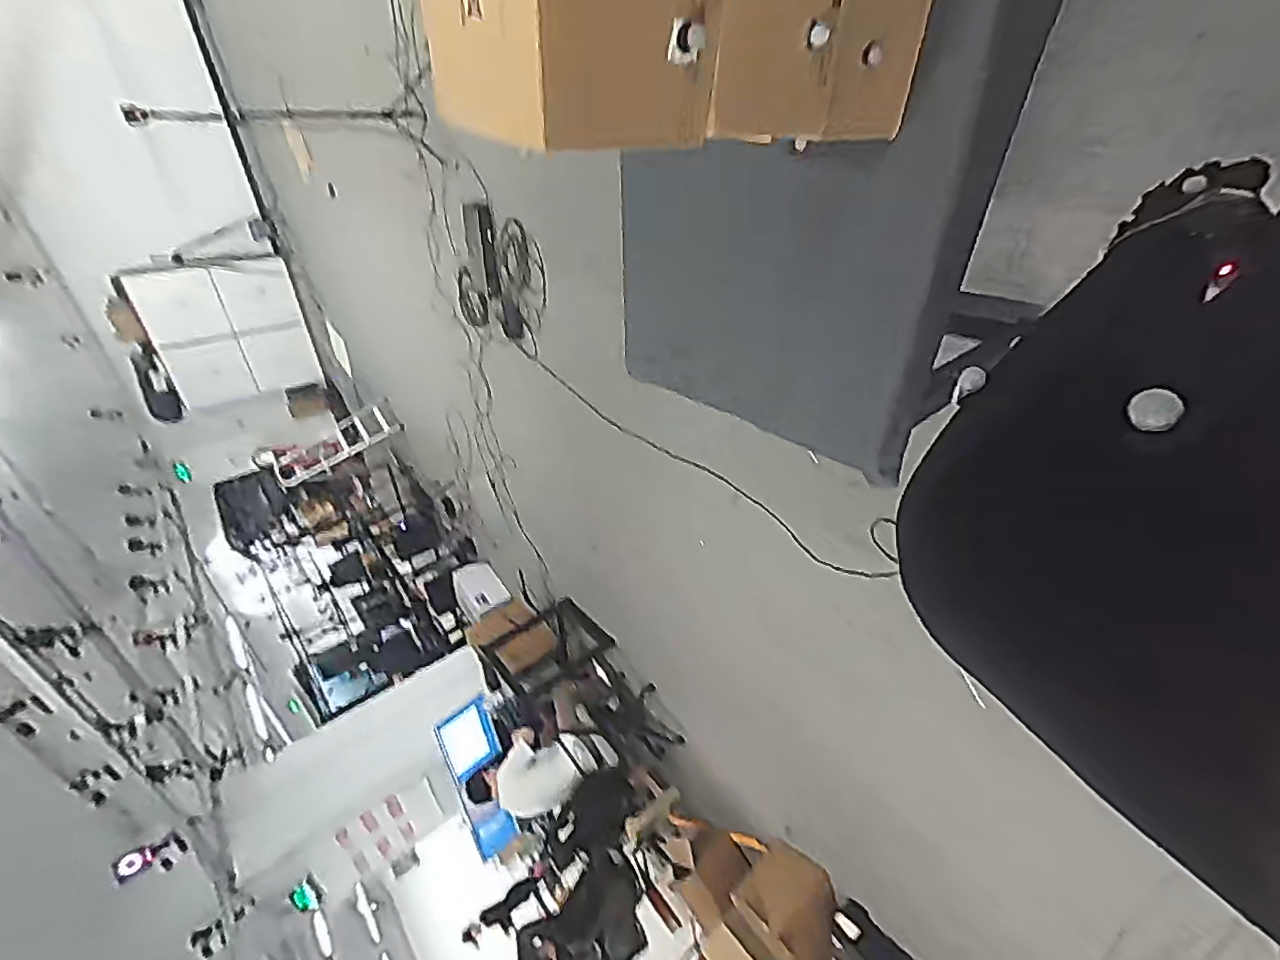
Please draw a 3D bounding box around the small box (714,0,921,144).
[{"bbox_3d":[0.187,-0.490,0.605,0.168,0.176,0.179,35,139,38],"label":"small box"}]

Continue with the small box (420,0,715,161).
[{"bbox_3d":[-0.060,-0.367,0.432,0.179,0.176,0.168,37,141,35],"label":"small box"}]

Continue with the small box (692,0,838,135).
[{"bbox_3d":[0.063,-0.429,0.517,0.179,0.176,0.168,35,138,41],"label":"small box"}]
